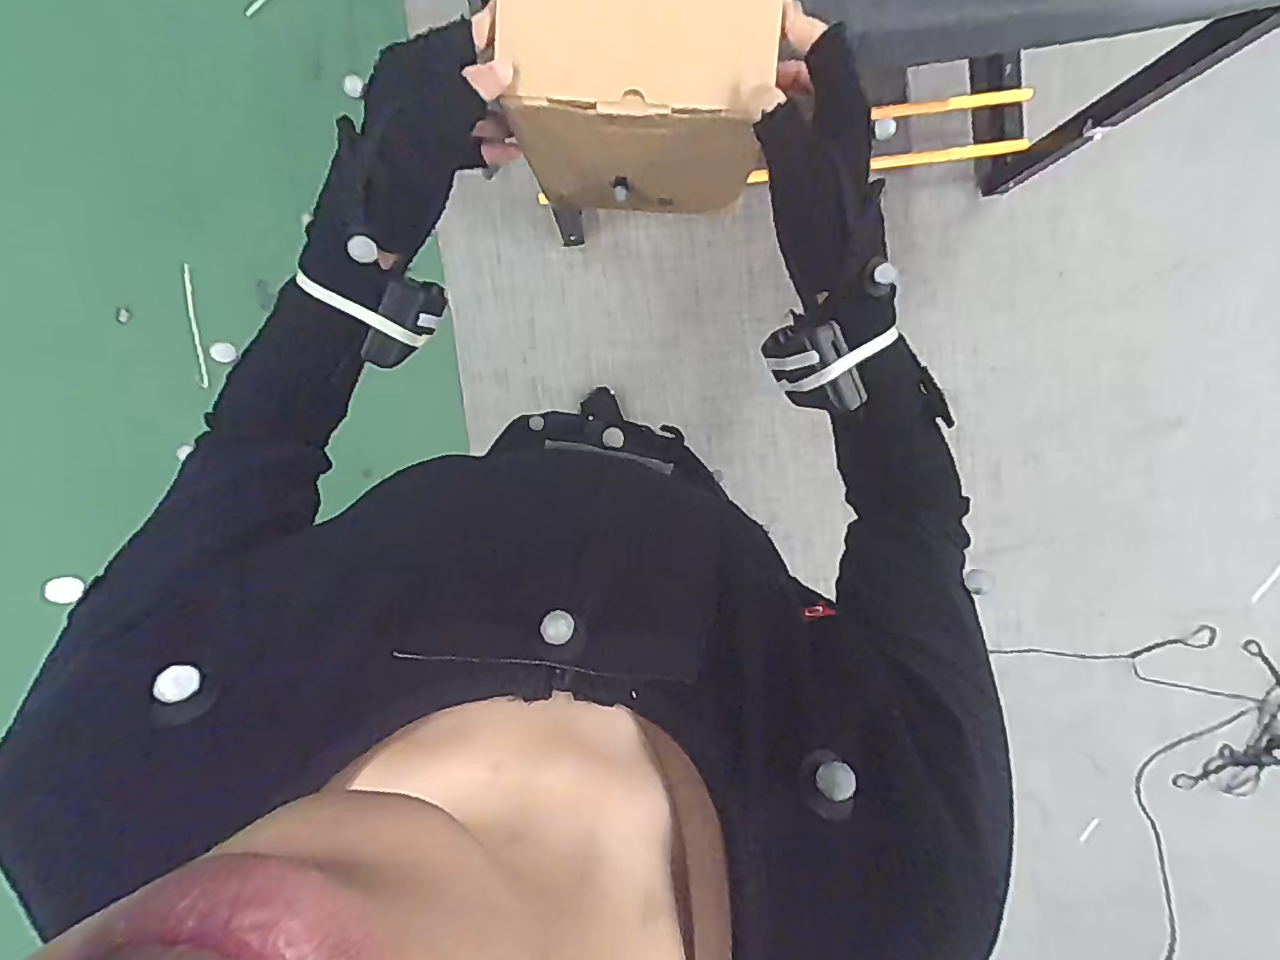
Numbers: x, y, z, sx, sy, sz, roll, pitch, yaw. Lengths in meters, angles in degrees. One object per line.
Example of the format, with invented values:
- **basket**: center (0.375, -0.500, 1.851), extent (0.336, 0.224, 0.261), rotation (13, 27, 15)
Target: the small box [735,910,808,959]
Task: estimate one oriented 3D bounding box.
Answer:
- **small box**: center (0.366, 1.362, 1.531), extent (0.168, 0.176, 0.179), rotation (1, 96, -1)
